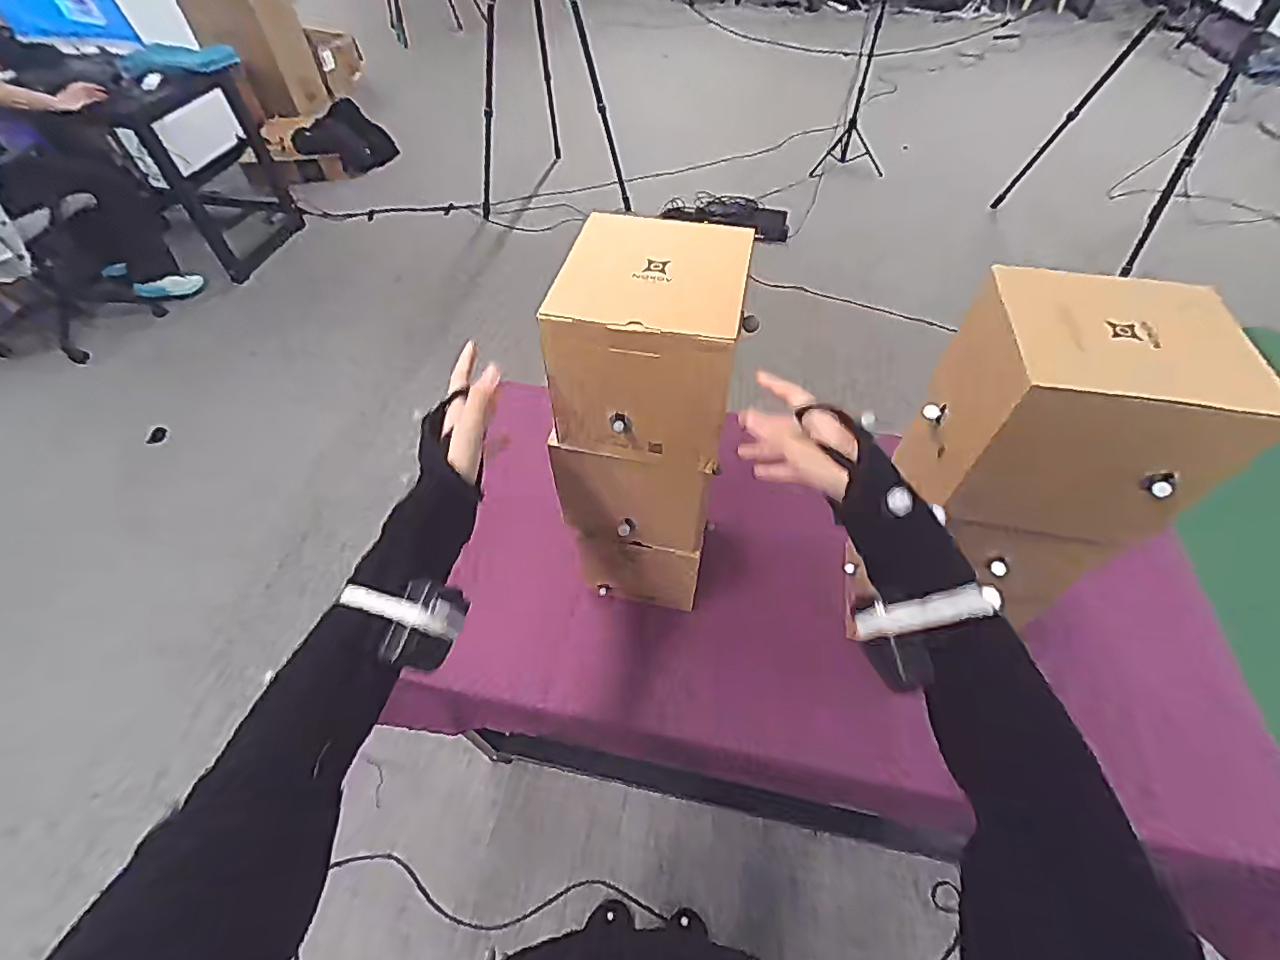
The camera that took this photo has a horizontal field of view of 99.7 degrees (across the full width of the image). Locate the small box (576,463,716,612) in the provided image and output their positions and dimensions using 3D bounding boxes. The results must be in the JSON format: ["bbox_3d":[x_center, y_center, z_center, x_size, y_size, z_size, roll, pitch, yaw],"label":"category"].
[{"bbox_3d":[0.015,0.076,0.804,0.168,0.176,0.179,9,52,7],"label":"small box"}]

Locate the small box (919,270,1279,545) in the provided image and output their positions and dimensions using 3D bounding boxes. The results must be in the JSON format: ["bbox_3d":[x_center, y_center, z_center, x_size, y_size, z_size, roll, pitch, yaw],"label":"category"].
[{"bbox_3d":[0.379,-0.060,0.486,0.179,0.176,0.168,10,52,9],"label":"small box"}]

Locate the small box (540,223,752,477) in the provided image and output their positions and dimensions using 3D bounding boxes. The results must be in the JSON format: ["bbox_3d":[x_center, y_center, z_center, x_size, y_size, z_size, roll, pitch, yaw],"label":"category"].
[{"bbox_3d":[0.012,-0.130,0.549,0.168,0.176,0.179,9,53,8],"label":"small box"}]

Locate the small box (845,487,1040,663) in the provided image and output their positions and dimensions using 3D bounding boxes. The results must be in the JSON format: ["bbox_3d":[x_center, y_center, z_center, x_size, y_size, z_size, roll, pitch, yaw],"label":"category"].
[{"bbox_3d":[0.400,0.136,0.749,0.179,0.176,0.168,10,52,8],"label":"small box"}]

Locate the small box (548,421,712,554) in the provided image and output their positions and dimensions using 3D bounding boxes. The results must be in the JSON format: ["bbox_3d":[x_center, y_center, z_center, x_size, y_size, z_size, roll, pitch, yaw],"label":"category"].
[{"bbox_3d":[0.002,-0.027,0.676,0.179,0.176,0.168,10,52,8],"label":"small box"}]
